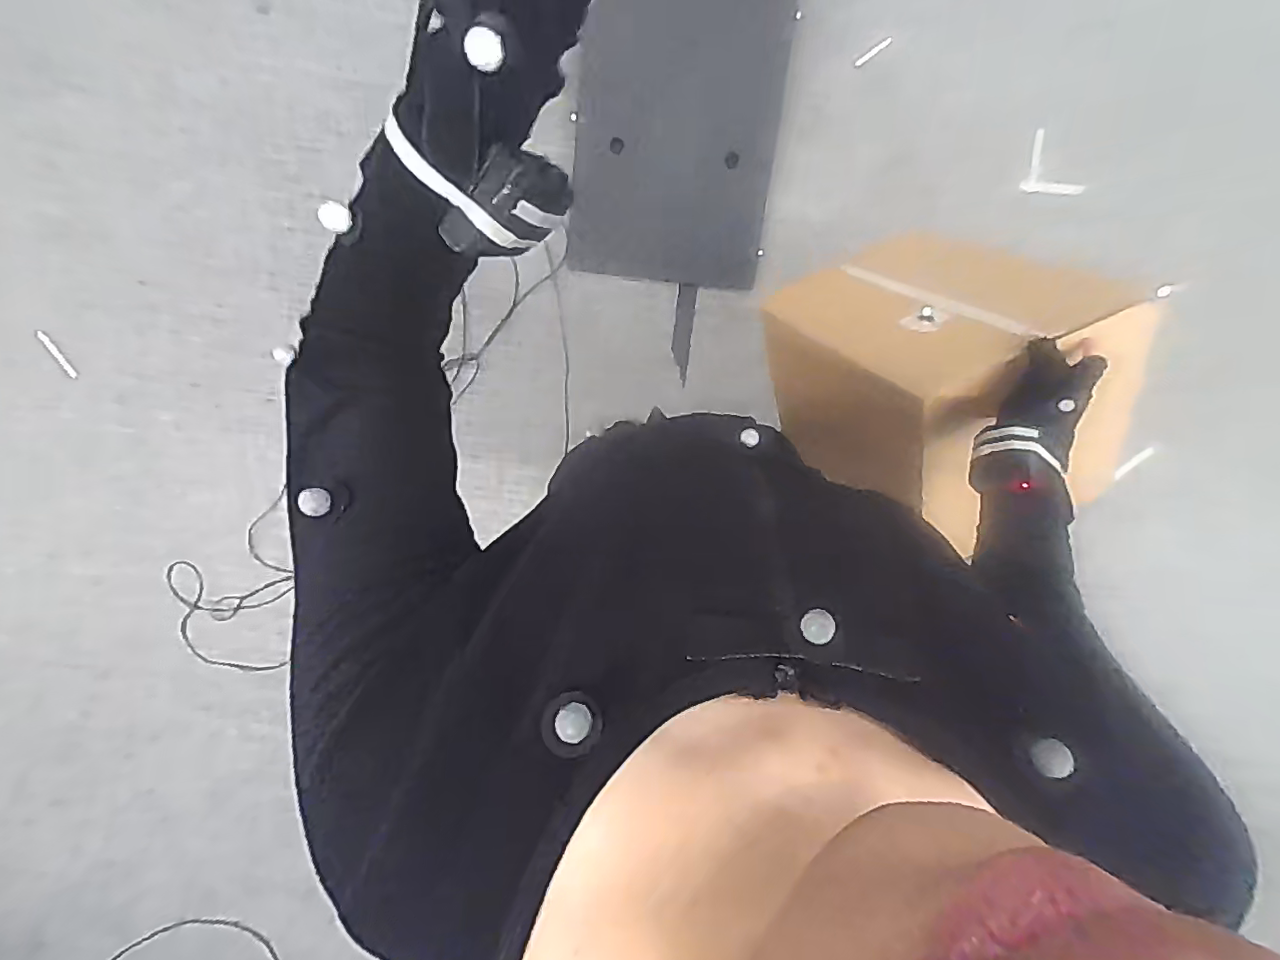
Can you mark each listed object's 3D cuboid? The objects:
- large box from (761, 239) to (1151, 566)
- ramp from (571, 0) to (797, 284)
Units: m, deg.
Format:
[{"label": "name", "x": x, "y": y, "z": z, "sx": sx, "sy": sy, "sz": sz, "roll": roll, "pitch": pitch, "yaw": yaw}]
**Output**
[{"label": "large box", "x": 0.440, "y": -0.144, "z": 0.864, "sx": 0.320, "sy": 0.408, "sz": 0.320, "roll": -24, "pitch": 127, "yaw": -3}, {"label": "ramp", "x": 0.110, "y": -1.012, "z": 1.281, "sx": 0.509, "sy": 0.206, "sz": 0.991, "roll": 4, "pitch": 97, "yaw": -3}]
